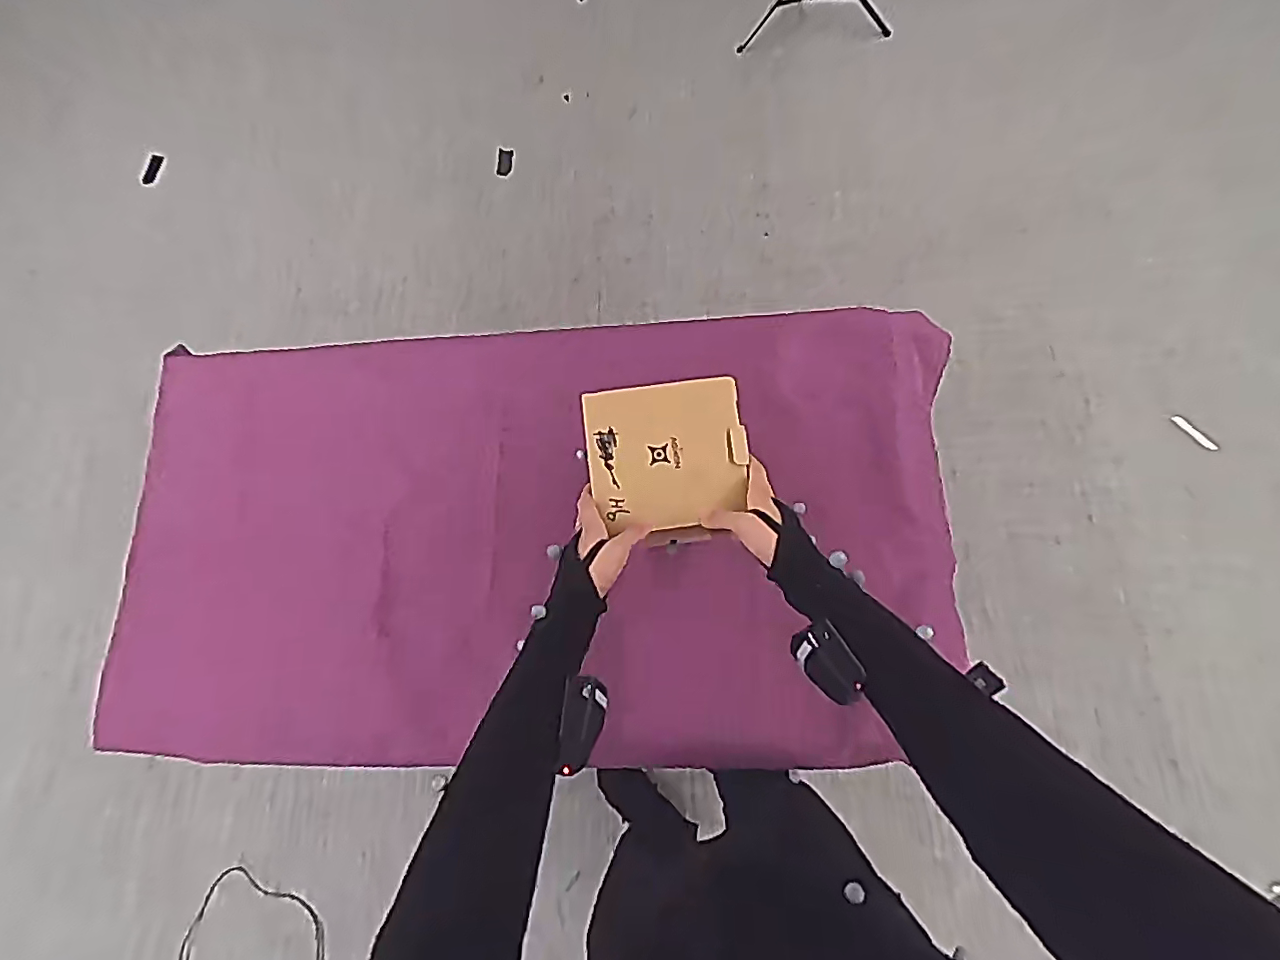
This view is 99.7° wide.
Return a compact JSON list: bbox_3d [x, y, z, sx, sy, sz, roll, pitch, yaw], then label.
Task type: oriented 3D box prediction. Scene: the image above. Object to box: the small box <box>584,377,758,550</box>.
[{"bbox_3d":[0.031,-0.011,0.663,0.179,0.176,0.168,-6,77,-1],"label":"small box"}]
